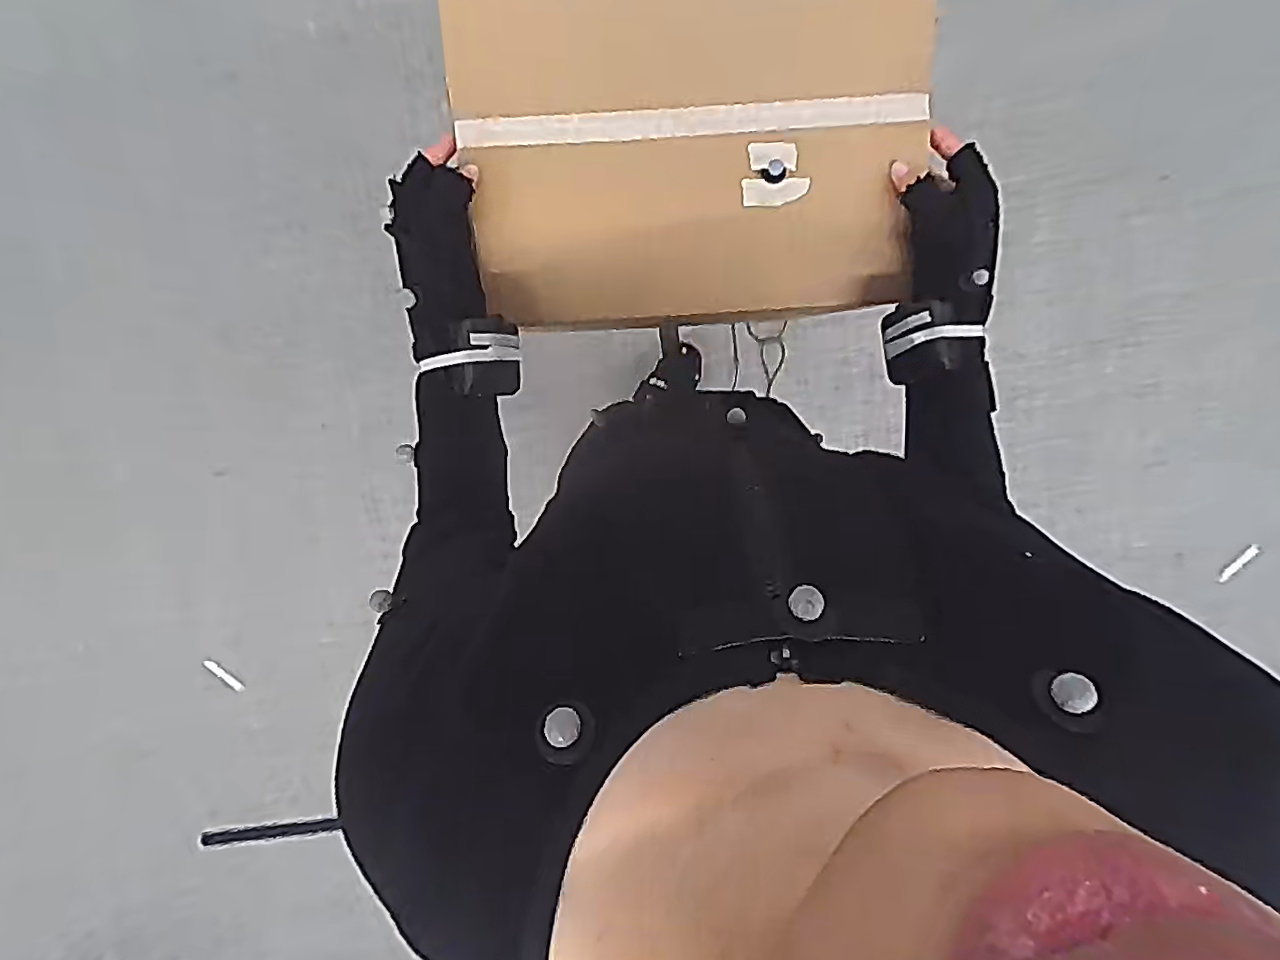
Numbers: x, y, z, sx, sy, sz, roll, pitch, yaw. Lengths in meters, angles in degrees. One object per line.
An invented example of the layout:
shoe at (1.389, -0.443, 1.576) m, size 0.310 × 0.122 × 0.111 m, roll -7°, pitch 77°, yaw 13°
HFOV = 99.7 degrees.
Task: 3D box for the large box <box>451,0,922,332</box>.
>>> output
large box at (0.040, -0.349, 0.619) m, size 0.408 × 0.320 × 0.320 m, roll -4°, pitch 103°, yaw -2°
